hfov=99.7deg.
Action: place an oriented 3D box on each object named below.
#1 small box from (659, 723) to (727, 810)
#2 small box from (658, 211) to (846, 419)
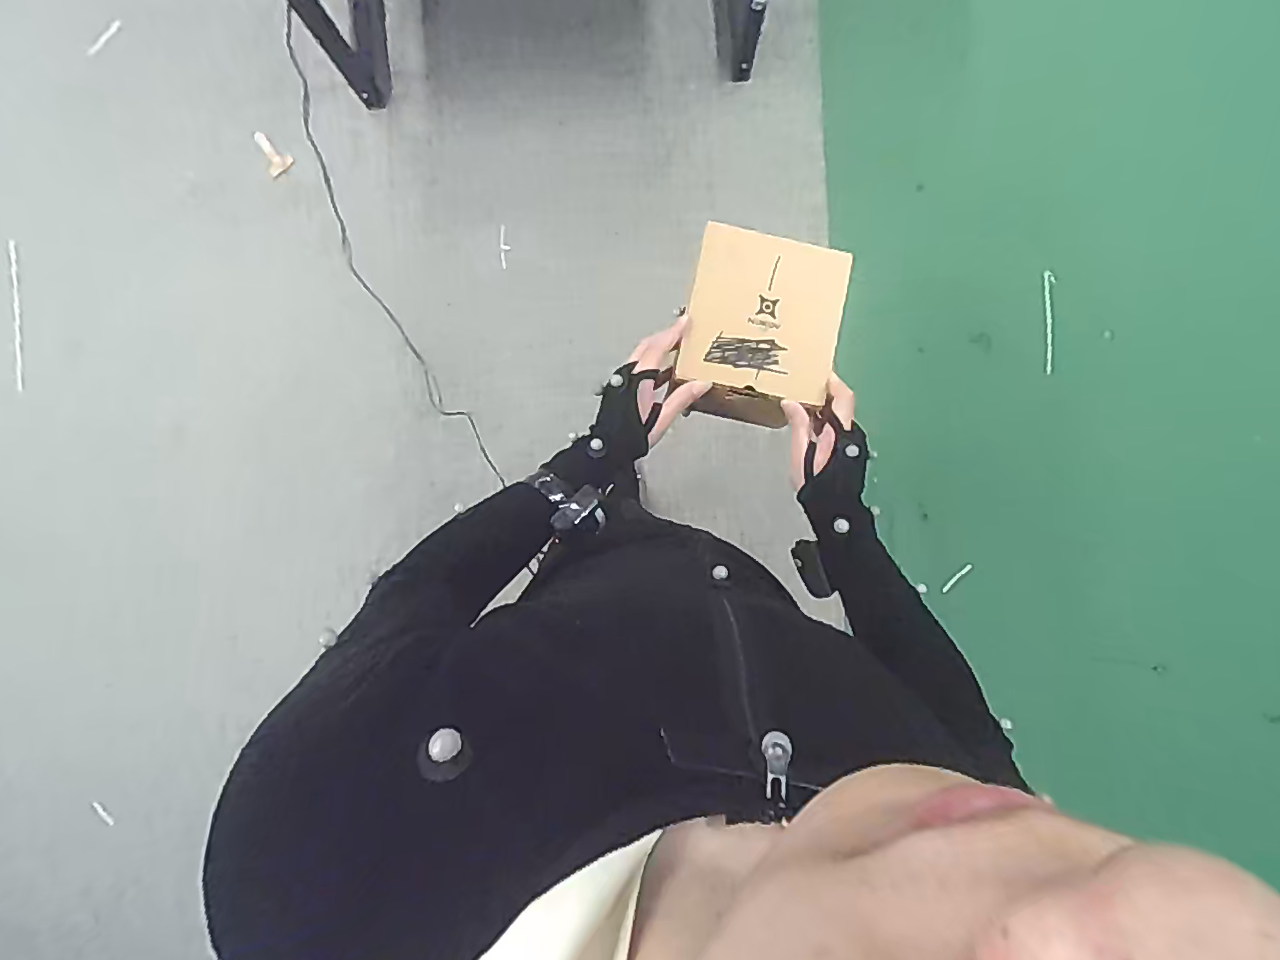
[{"bbox_3d":[0.148,0.810,1.542,0.179,0.176,0.168,1,90,0],"label":"small box"},{"bbox_3d":[0.118,-0.179,0.643,0.168,0.176,0.179,12,87,-2],"label":"small box"}]
